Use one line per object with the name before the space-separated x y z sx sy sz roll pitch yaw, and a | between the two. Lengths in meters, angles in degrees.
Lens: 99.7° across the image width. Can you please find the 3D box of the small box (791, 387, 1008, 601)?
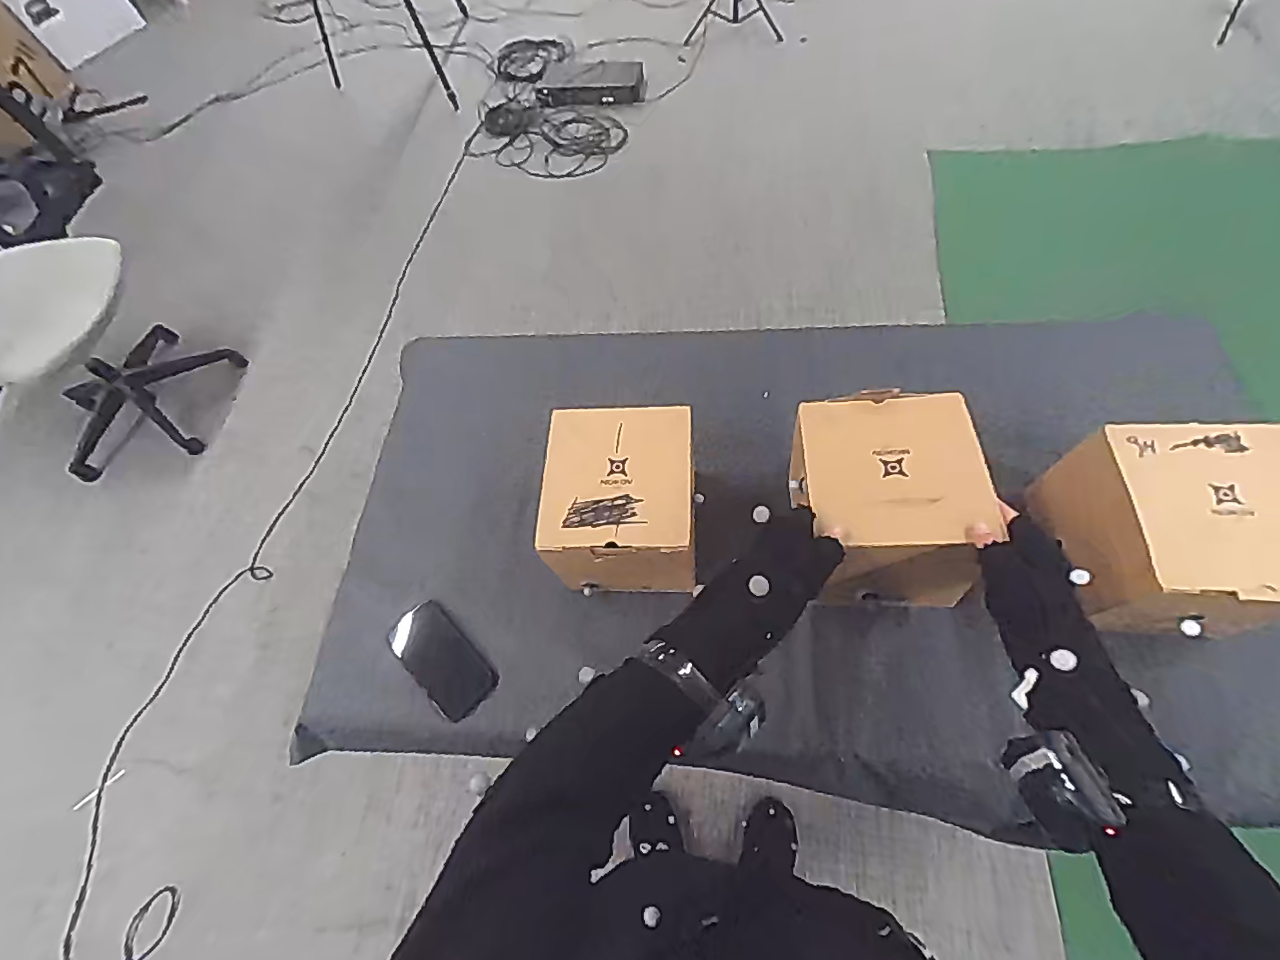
small box | 0.261 0.022 0.596 0.168 0.176 0.179 -3 58 11

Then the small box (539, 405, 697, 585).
small box | -0.014 0.026 0.670 0.168 0.176 0.179 -1 63 7

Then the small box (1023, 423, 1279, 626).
small box | 0.556 0.055 0.583 0.168 0.176 0.179 1 65 8
